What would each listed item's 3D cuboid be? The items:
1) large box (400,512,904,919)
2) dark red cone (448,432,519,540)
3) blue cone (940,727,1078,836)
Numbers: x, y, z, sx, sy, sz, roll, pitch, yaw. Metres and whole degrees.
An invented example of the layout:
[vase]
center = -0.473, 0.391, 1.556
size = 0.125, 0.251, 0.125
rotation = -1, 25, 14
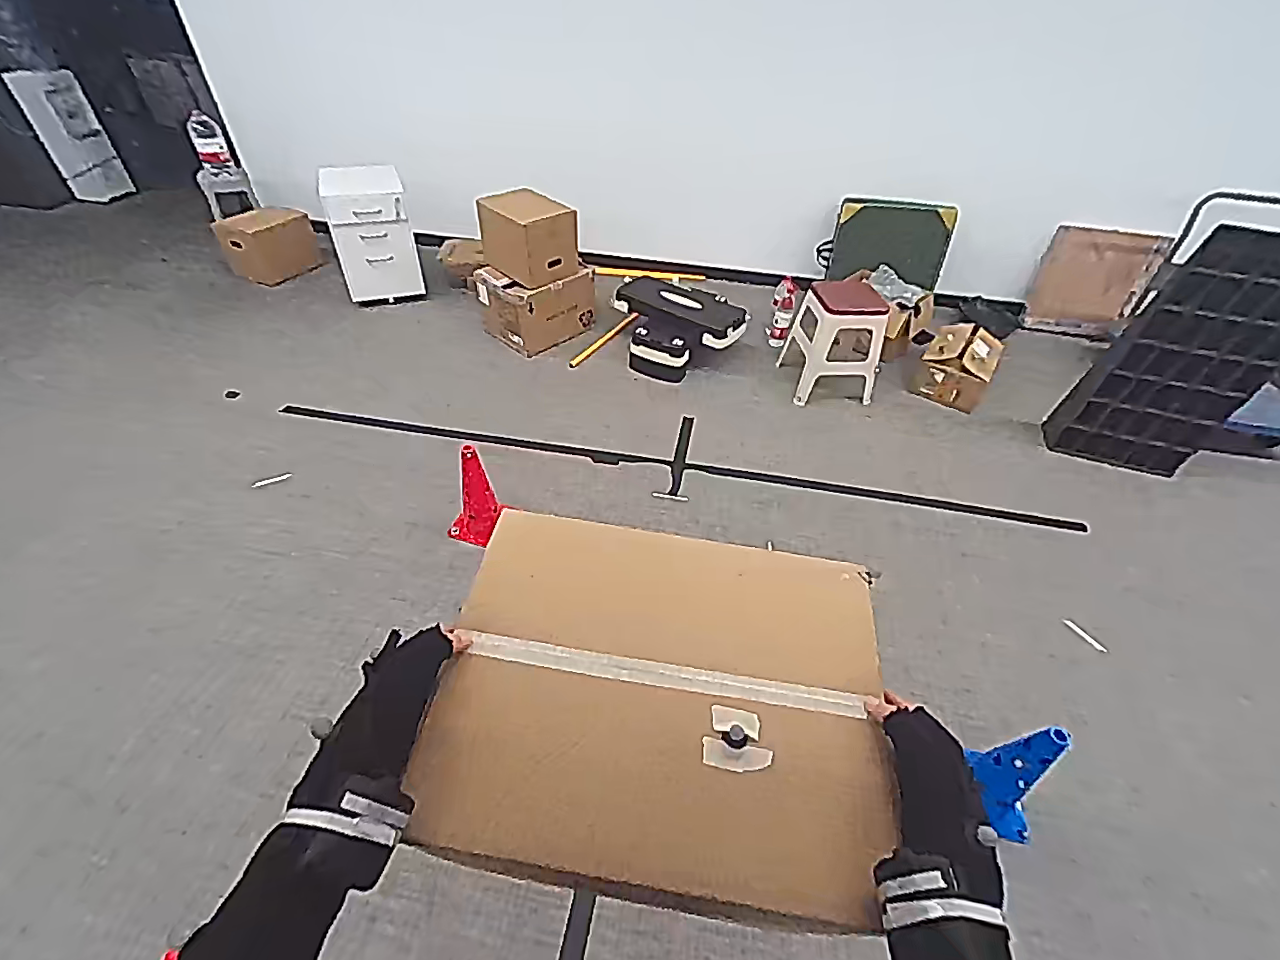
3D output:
[large box]
center = 0.014, 0.274, 0.623
size = 0.408, 0.320, 0.320
rotation = 9, 51, 3
[dark red cone]
center = -0.544, 0.005, 1.818
size = 0.201, 0.394, 0.202
rotation = 14, 45, 9
[blue cone]
center = 0.887, 0.674, 1.275
size = 0.192, 0.380, 0.193
rotation = 12, 44, 7
